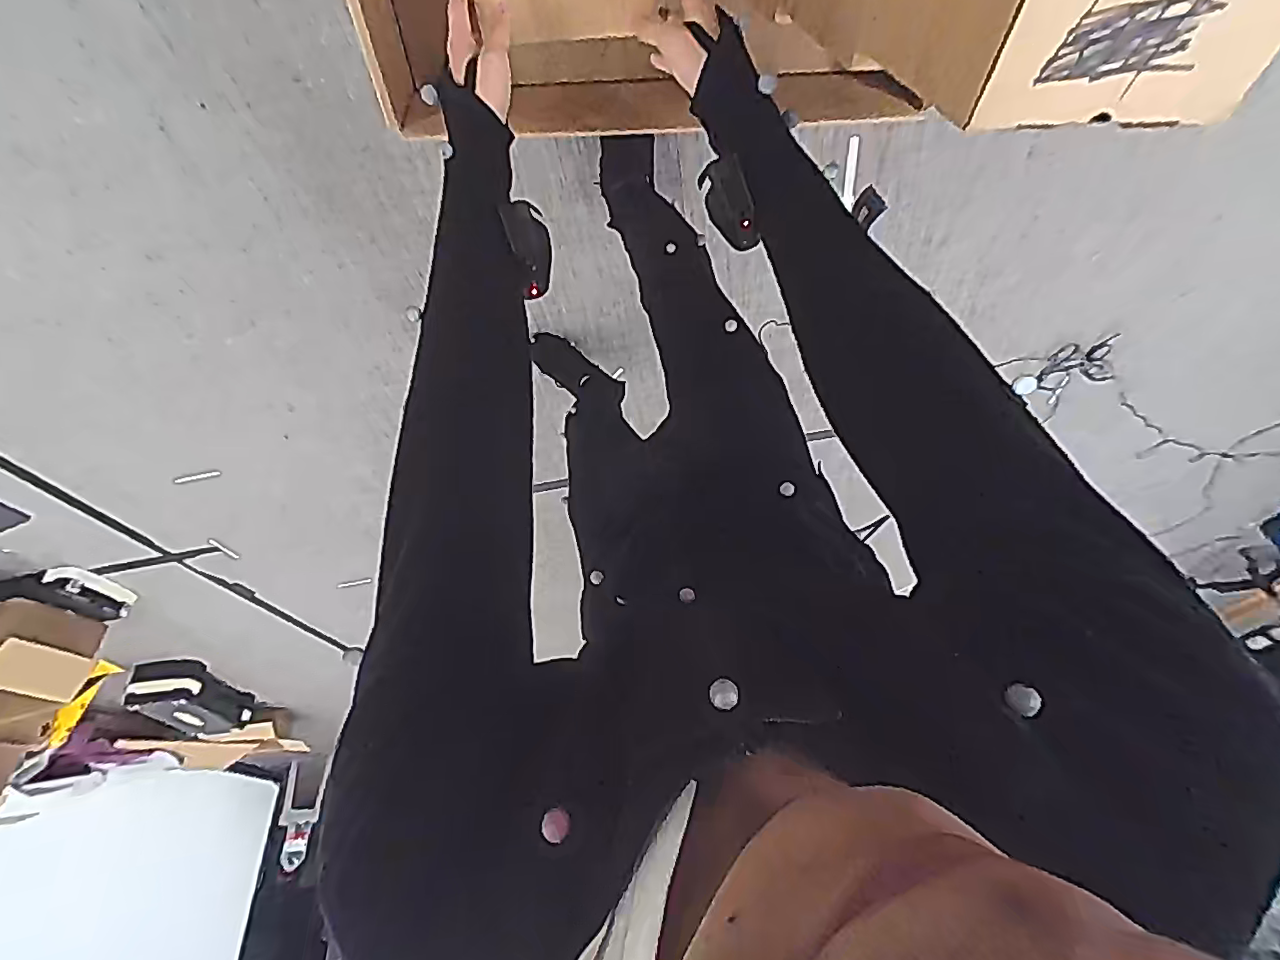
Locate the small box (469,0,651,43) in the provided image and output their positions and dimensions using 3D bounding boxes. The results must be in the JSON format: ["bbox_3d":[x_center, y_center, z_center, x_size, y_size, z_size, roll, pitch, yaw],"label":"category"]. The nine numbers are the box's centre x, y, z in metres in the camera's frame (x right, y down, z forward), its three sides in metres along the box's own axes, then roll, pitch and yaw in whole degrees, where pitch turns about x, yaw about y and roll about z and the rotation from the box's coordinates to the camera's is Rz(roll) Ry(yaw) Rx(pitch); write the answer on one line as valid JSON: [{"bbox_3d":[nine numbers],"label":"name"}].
[{"bbox_3d":[-0.081,-0.530,0.487,0.168,0.176,0.179,-7,142,-4],"label":"small box"}]

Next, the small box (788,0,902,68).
[{"bbox_3d":[0.230,-0.437,0.401,0.179,0.176,0.168,-8,142,-3],"label":"small box"}]

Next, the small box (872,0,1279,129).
[{"bbox_3d":[0.251,-0.317,0.288,0.168,0.176,0.179,-5,142,-6],"label":"small box"}]
